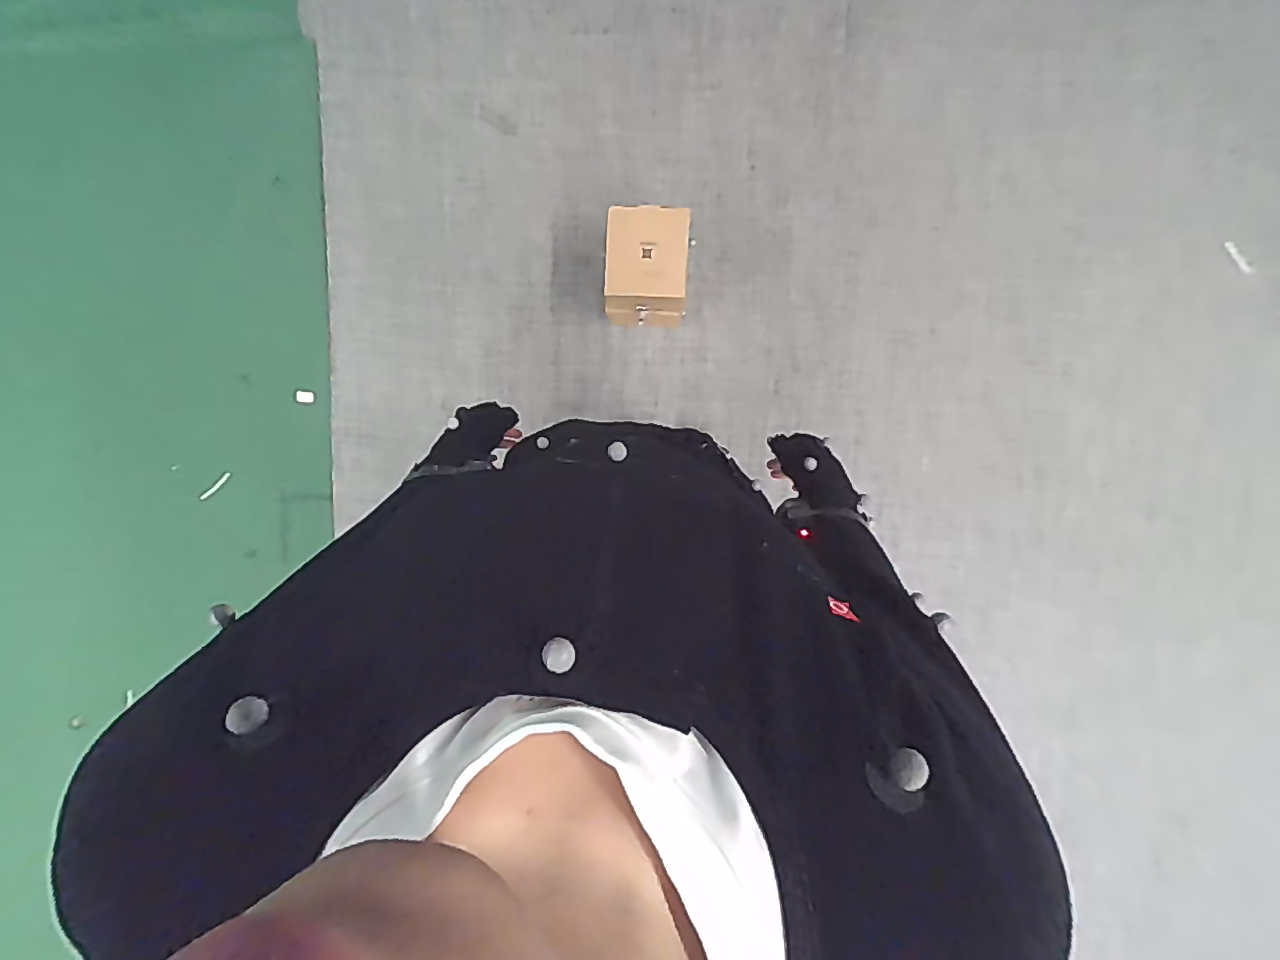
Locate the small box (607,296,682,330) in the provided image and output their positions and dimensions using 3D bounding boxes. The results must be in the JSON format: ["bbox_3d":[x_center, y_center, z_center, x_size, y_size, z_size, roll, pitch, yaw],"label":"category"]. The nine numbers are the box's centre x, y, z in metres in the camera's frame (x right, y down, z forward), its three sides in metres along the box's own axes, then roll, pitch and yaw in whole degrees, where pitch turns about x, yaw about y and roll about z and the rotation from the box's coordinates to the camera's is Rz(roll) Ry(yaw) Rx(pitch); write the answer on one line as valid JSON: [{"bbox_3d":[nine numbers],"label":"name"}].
[{"bbox_3d":[0.020,-0.470,1.332,0.179,0.176,0.168,4,96,4],"label":"small box"}]

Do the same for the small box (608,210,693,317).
[{"bbox_3d":[0.025,-0.462,1.171,0.168,0.176,0.179,3,97,5],"label":"small box"}]
